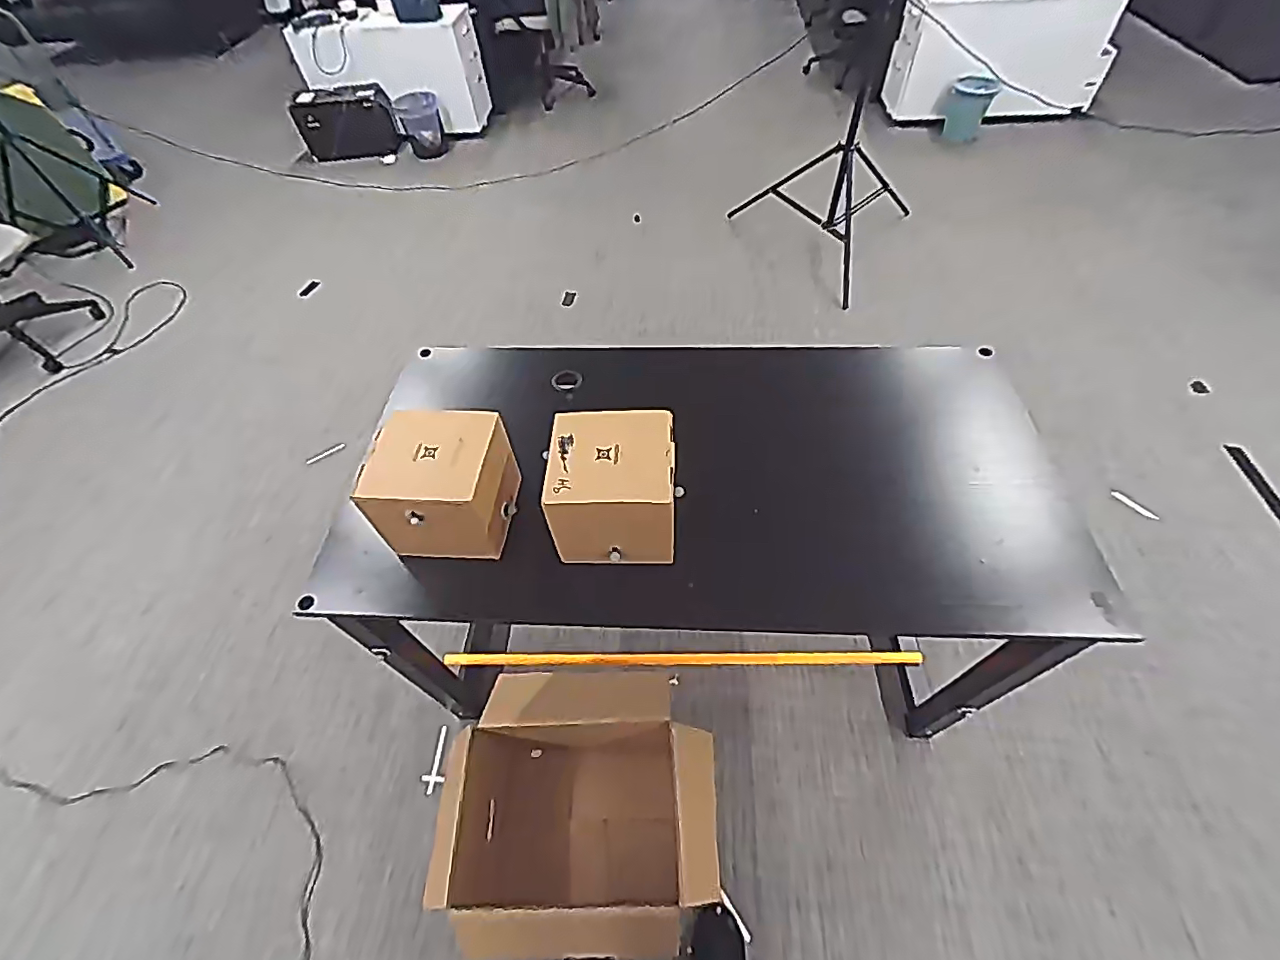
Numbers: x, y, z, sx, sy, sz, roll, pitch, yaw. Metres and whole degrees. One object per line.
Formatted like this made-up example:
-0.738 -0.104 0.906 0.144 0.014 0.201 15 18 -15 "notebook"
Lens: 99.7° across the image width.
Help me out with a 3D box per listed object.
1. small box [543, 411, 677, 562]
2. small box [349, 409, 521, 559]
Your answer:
-0.036 0.014 0.814 0.179 0.176 0.168 0 53 3 "small box"
-0.299 0.010 0.833 0.179 0.176 0.168 3 54 4 "small box"
